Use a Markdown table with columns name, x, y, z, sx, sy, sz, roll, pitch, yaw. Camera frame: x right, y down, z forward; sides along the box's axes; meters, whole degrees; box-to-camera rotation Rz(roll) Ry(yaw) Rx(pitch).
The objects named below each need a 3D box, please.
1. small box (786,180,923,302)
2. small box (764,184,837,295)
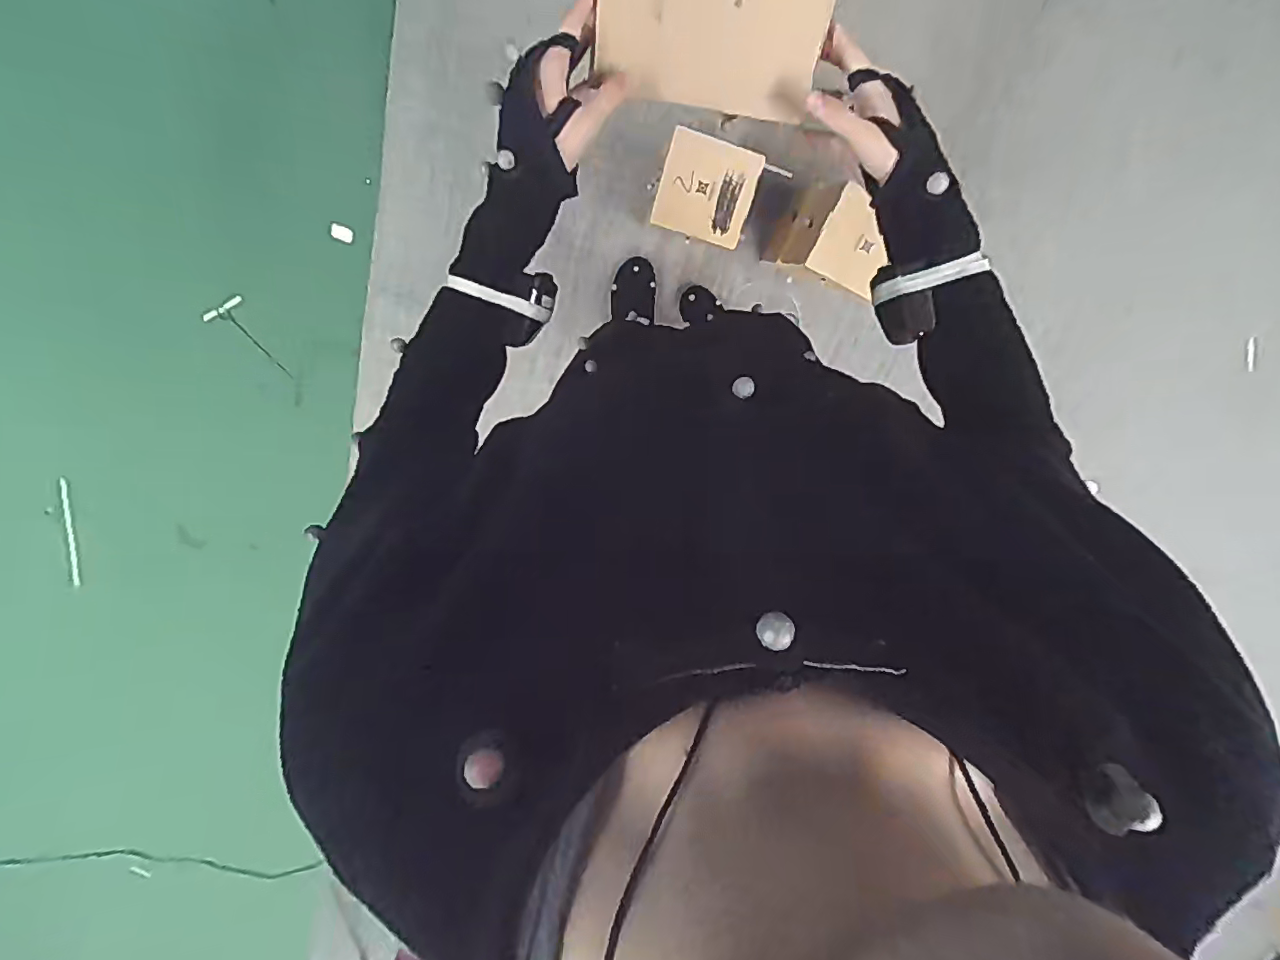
| name | x | y | z | sx | sy | sz | roll | pitch | yaw |
| --- | --- | --- | --- | --- | --- | --- | --- | --- | --- |
| small box | 0.424 | -0.481 | 1.107 | 0.179 | 0.176 | 0.168 | 23 | 111 | -9 |
| small box | 0.409 | -0.553 | 1.256 | 0.168 | 0.176 | 0.179 | 24 | 110 | -10 |
